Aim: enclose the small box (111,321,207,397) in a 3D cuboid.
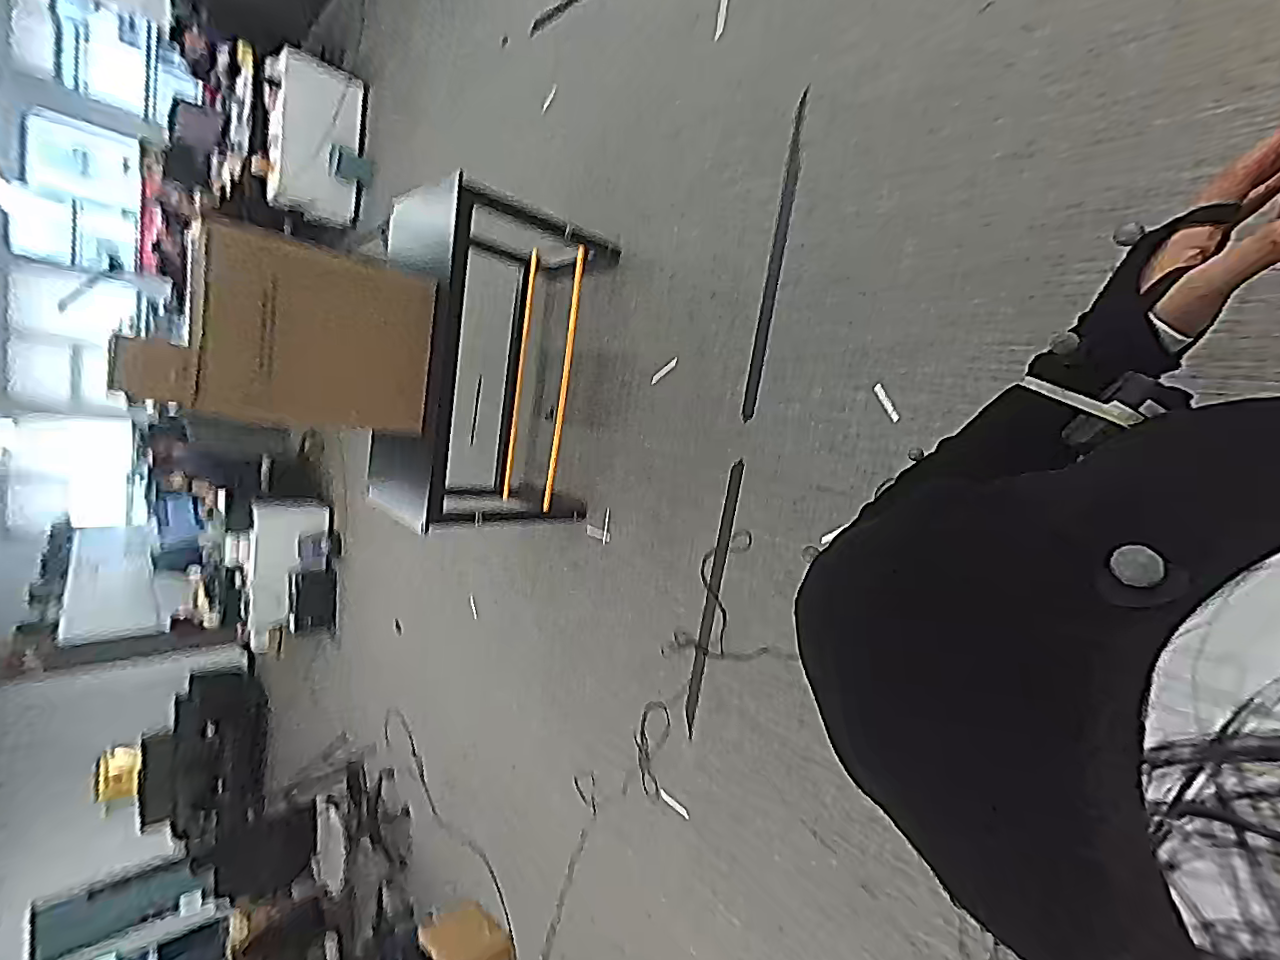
[{"bbox_3d":[-1.283,-0.318,1.441,0.179,0.176,0.168,11,95,43],"label":"small box"}]
